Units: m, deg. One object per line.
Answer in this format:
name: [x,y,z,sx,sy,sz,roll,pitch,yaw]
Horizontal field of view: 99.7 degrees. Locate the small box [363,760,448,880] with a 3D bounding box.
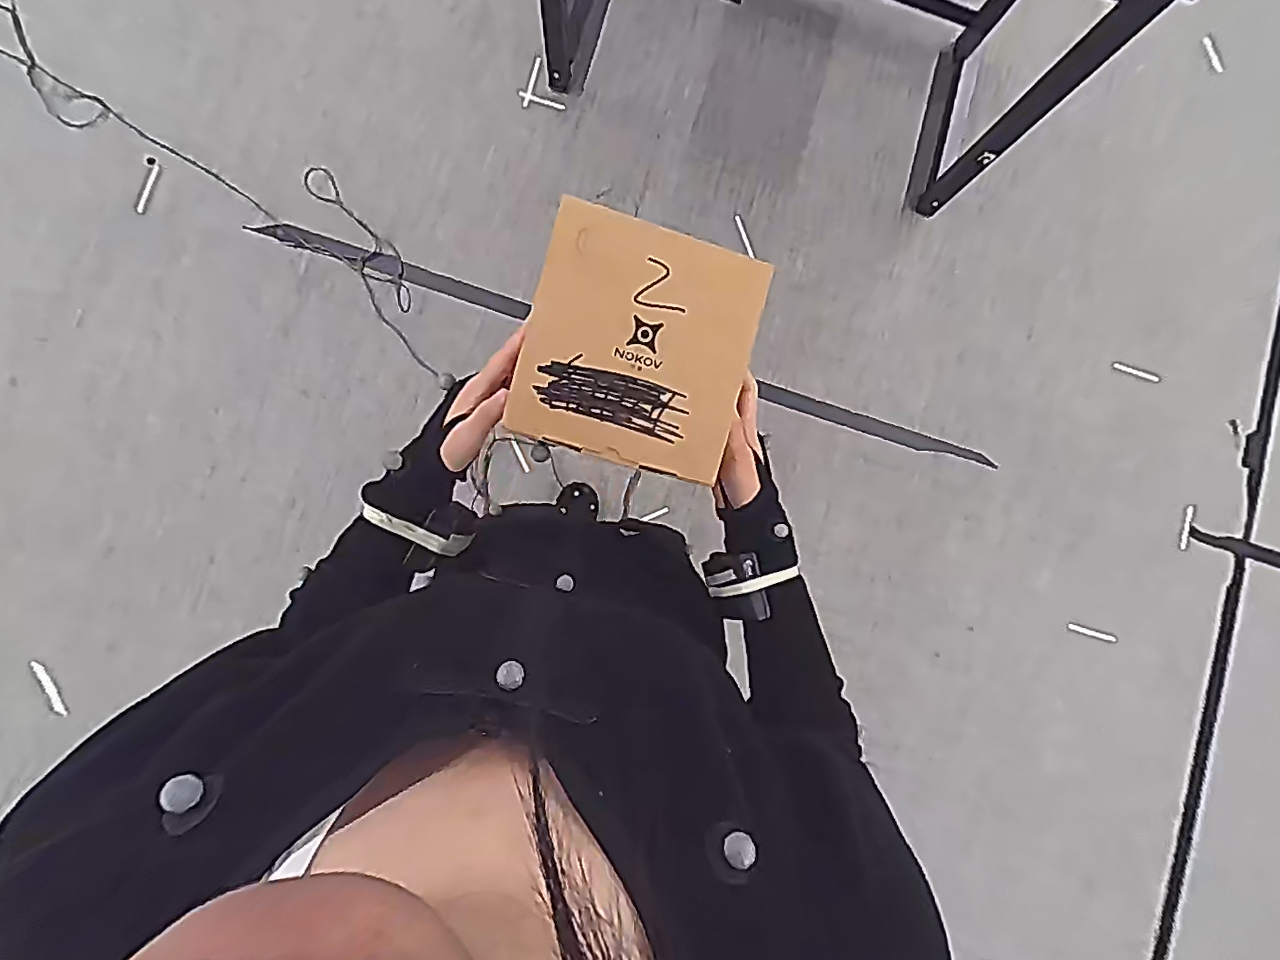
small box: [-0.592,0.831,1.335,0.168,0.176,0.179,16,85,-4]

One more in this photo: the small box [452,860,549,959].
small box: [-0.337,1.094,1.340,0.179,0.176,0.168,25,85,-5]

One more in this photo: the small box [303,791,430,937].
small box: [-0.579,0.820,1.173,0.168,0.176,0.179,19,84,-4]
